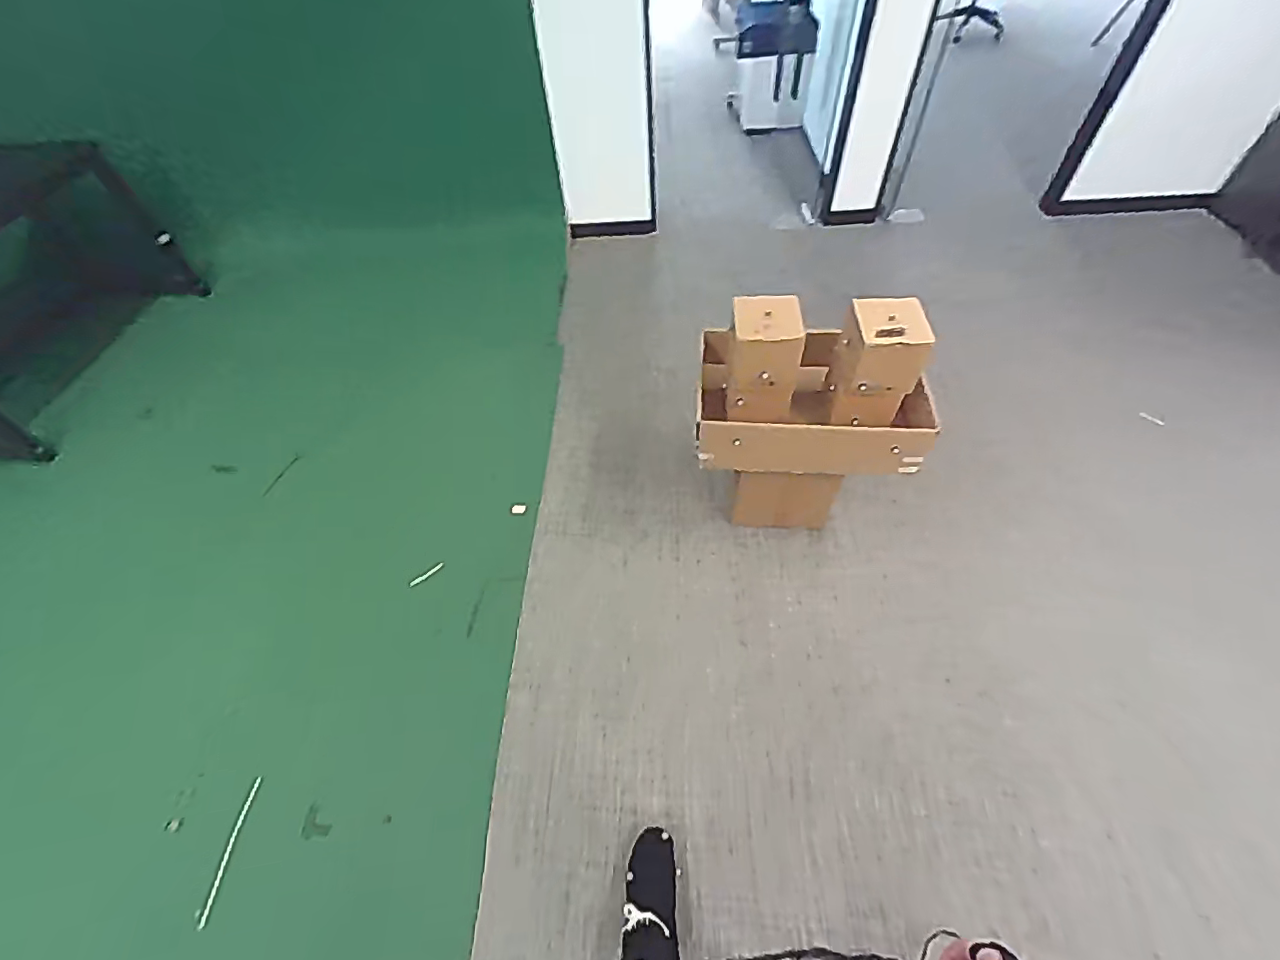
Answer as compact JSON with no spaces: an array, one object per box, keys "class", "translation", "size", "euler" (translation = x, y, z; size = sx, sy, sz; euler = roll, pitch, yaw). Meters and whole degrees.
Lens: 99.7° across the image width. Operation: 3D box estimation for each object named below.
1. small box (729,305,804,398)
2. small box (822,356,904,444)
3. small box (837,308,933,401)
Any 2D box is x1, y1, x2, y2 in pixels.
[{"class":"small box","translation":[0.324,-0.337,1.416],"size":[0.168,0.176,0.179],"euler":[1,53,5]},{"class":"small box","translation":[0.619,-0.225,1.522],"size":[0.168,0.176,0.179],"euler":[4,54,6]},{"class":"small box","translation":[0.618,-0.319,1.387],"size":[0.168,0.176,0.179],"euler":[1,53,3]}]
